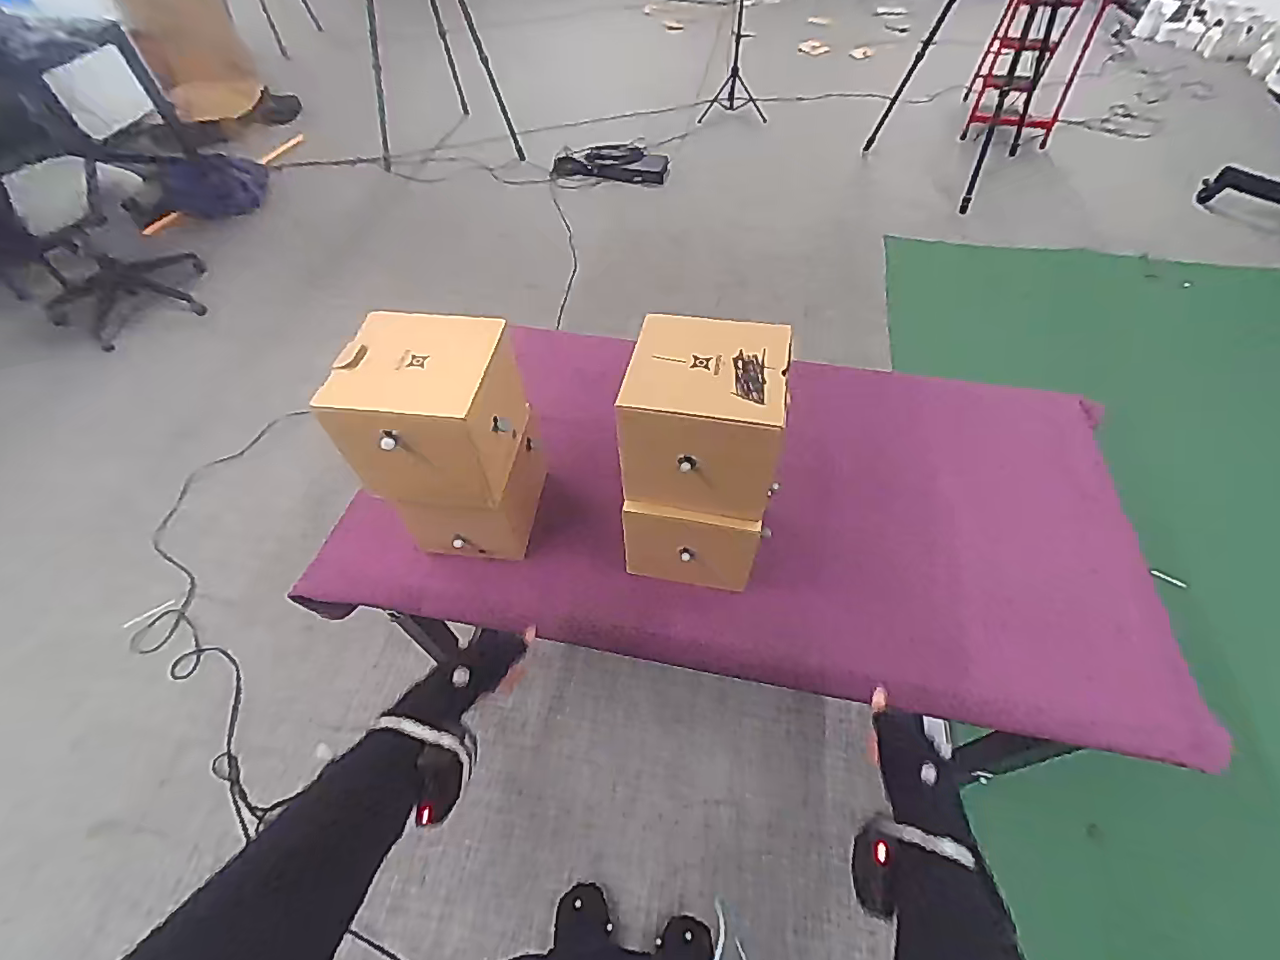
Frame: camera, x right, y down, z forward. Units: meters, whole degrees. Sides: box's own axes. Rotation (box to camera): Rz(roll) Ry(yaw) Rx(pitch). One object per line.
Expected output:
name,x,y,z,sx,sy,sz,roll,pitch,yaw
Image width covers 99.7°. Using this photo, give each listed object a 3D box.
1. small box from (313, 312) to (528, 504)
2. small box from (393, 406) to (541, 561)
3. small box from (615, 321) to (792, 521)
small box,-0.252,-0.085,0.677,0.179,0.176,0.168,5,54,5
small box,-0.253,-0.001,0.819,0.168,0.176,0.179,6,54,4
small box,0.078,-0.068,0.663,0.179,0.176,0.168,9,53,10
